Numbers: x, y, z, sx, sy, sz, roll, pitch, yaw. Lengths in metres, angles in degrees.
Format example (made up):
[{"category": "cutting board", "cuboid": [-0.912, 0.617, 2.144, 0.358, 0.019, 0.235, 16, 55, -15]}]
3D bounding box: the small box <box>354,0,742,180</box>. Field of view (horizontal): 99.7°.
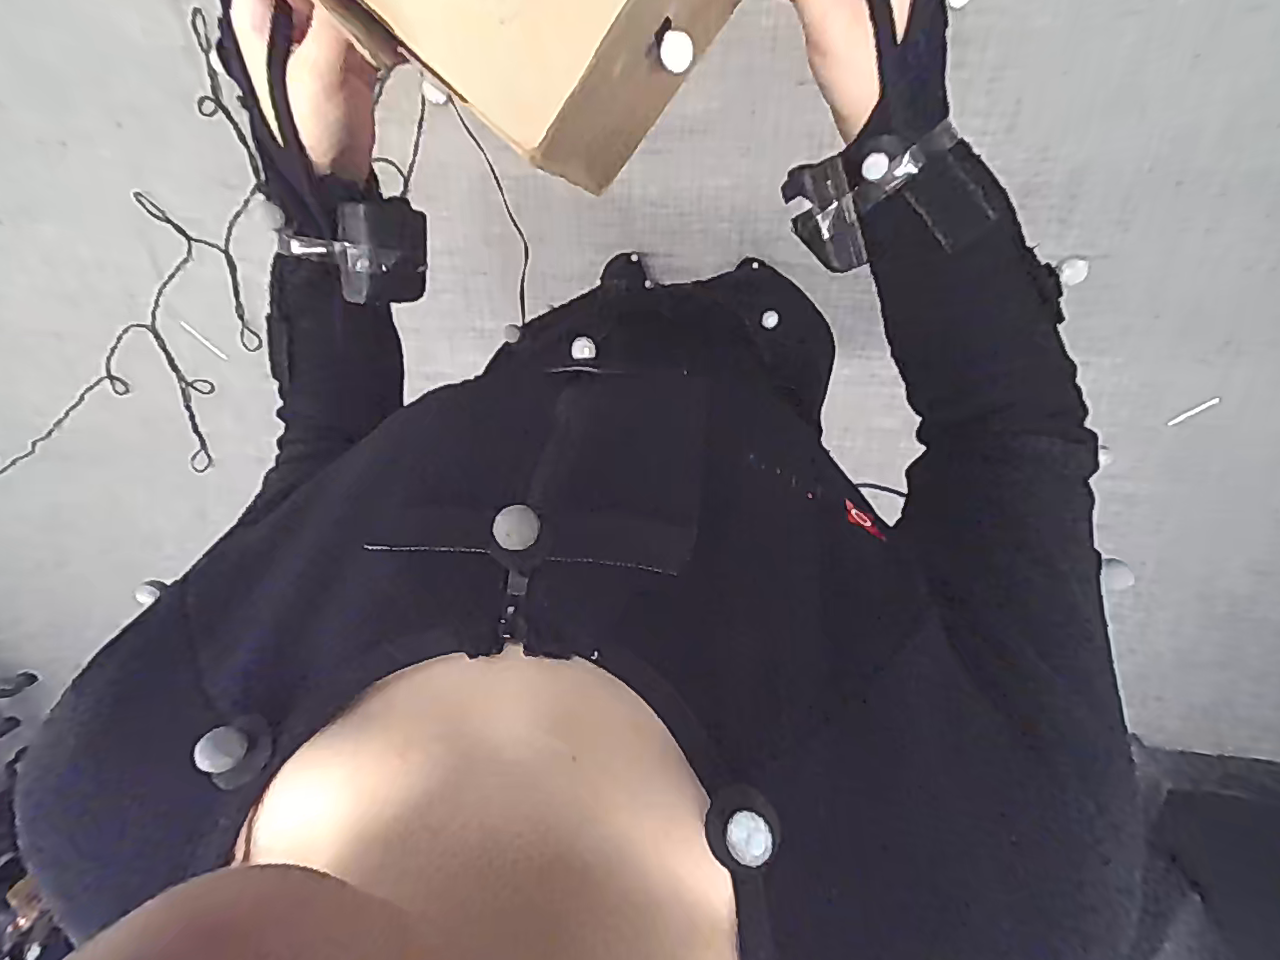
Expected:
[{"category": "small box", "cuboid": [-0.038, -0.264, 0.237, 0.168, 0.176, 0.179, 38, 112, -11]}]
